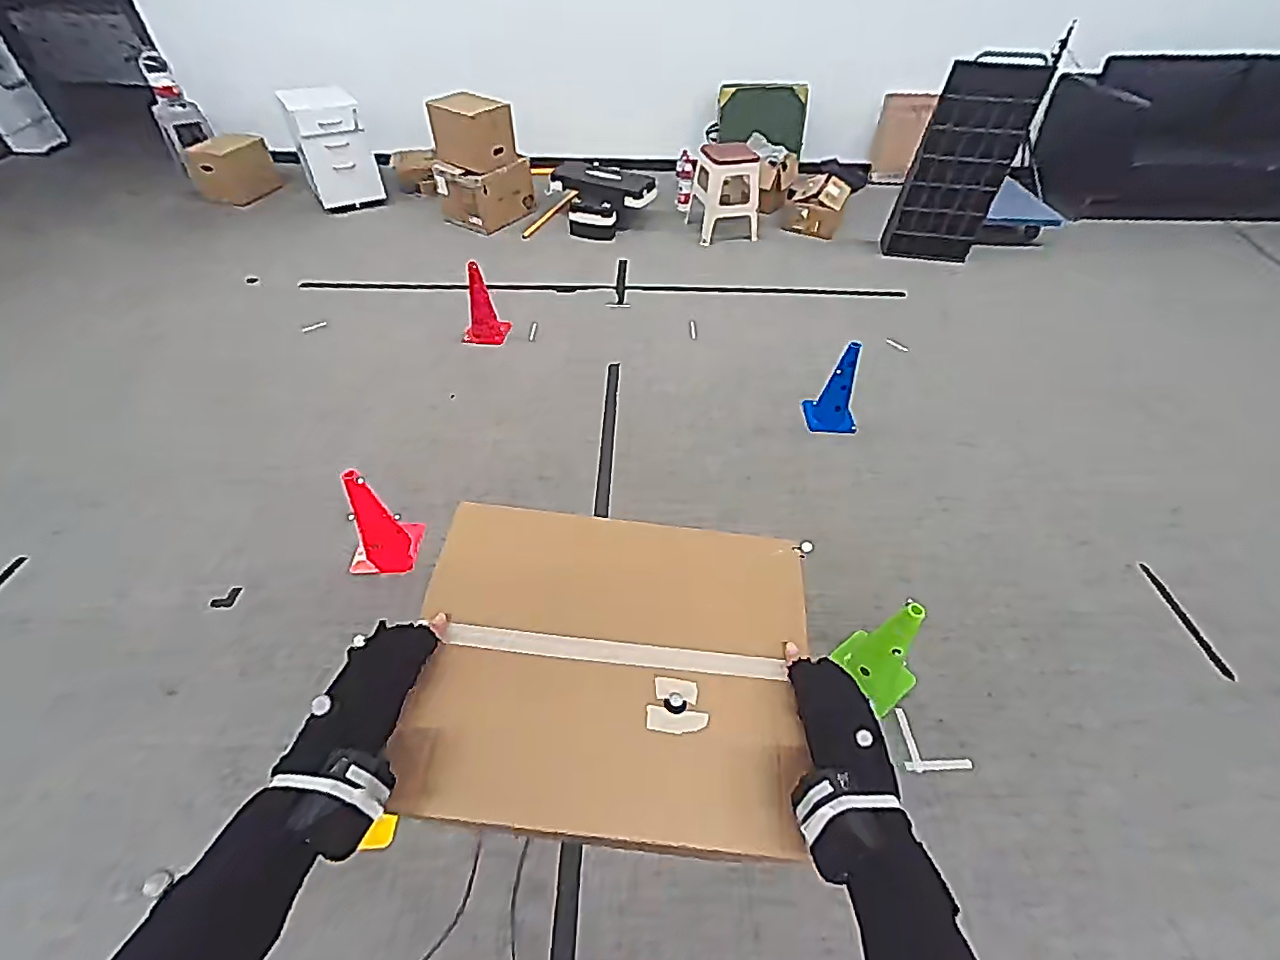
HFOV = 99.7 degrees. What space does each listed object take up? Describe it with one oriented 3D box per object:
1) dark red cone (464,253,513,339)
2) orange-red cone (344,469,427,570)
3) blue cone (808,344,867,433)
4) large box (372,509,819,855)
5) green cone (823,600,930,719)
[{"bbox_3d":[-0.736,-0.863,2.535,0.201,0.394,0.202,6,47,3],"label":"dark red cone"},{"bbox_3d":[-0.823,0.102,1.668,0.198,0.360,0.199,-1,49,-1],"label":"orange-red cone"},{"bbox_3d":[0.823,-0.379,2.179,0.192,0.380,0.193,4,47,1],"label":"blue cone"},{"bbox_3d":[-0.038,0.263,0.677,0.408,0.320,0.320,7,55,0],"label":"large box"},{"bbox_3d":[0.656,0.427,1.402,0.202,0.368,0.200,-27,54,-26],"label":"green cone"}]
